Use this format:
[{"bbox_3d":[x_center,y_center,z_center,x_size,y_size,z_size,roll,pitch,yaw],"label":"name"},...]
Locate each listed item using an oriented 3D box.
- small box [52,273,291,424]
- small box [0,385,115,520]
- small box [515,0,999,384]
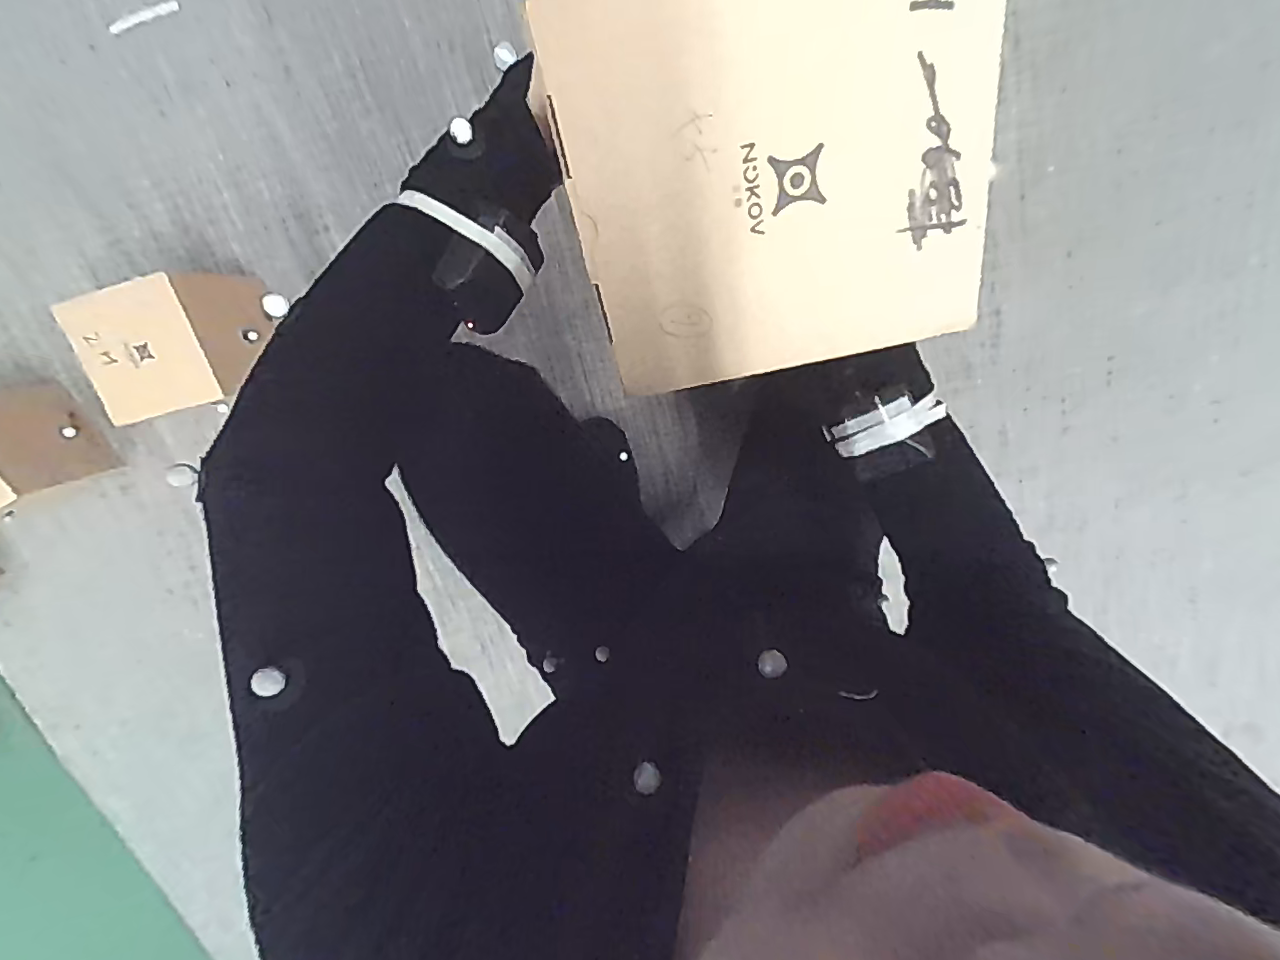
[{"bbox_3d":[-0.650,-0.192,0.782,0.179,0.176,0.168,-12,106,7],"label":"small box"},{"bbox_3d":[-1.009,-0.035,0.851,0.179,0.176,0.168,-25,105,9],"label":"small box"},{"bbox_3d":[0.057,-0.169,0.294,0.179,0.176,0.168,-9,120,8],"label":"small box"}]
